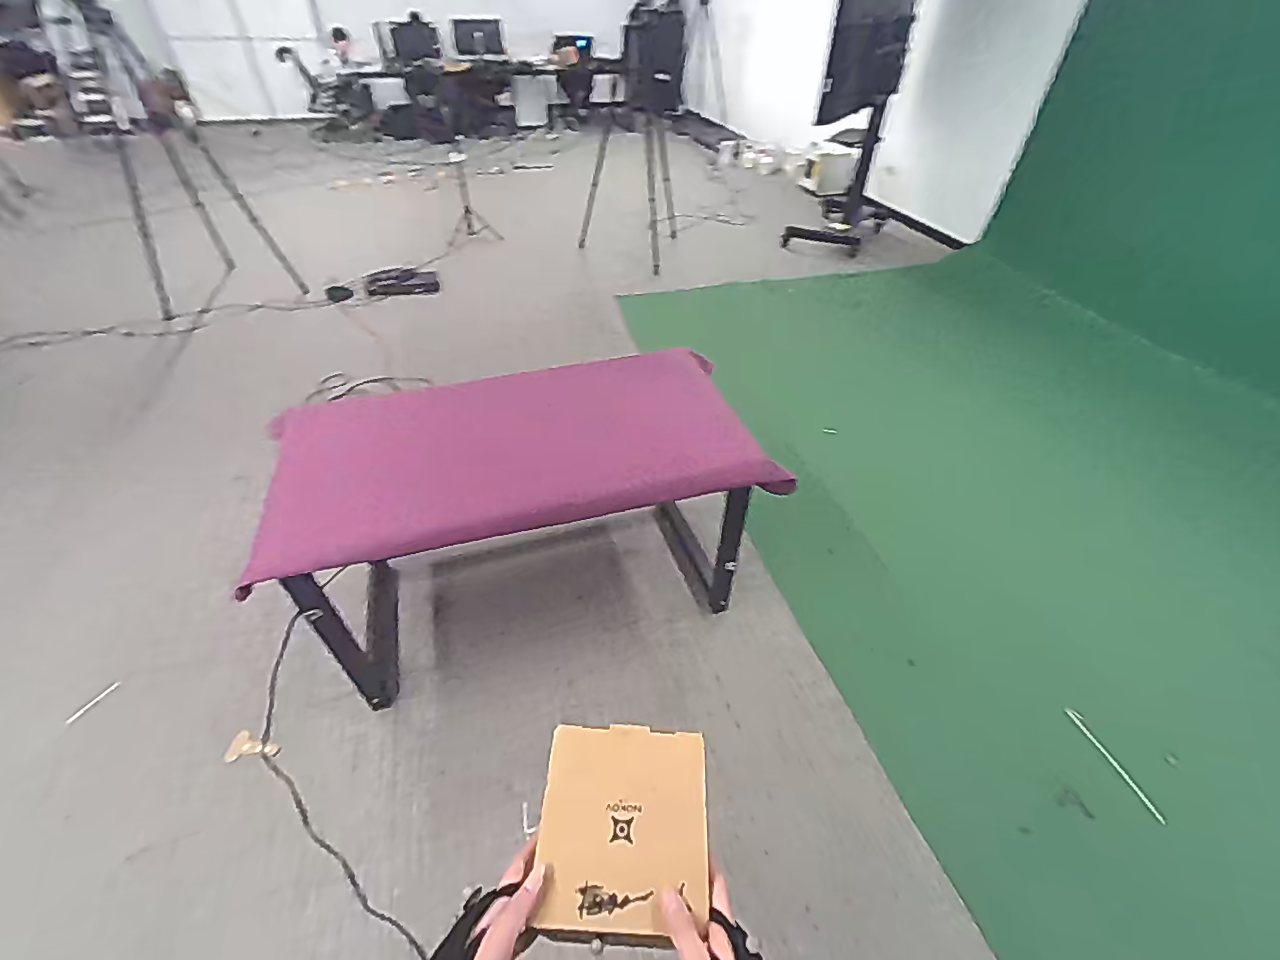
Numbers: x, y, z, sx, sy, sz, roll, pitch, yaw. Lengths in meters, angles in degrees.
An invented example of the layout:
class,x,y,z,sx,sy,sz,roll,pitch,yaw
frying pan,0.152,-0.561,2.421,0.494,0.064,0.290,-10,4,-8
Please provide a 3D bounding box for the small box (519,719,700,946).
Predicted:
class,x,y,z,sx,sy,sz,roll,pitch,yaw
small box,-0.025,0.386,0.594,0.168,0.176,0.179,3,47,2
